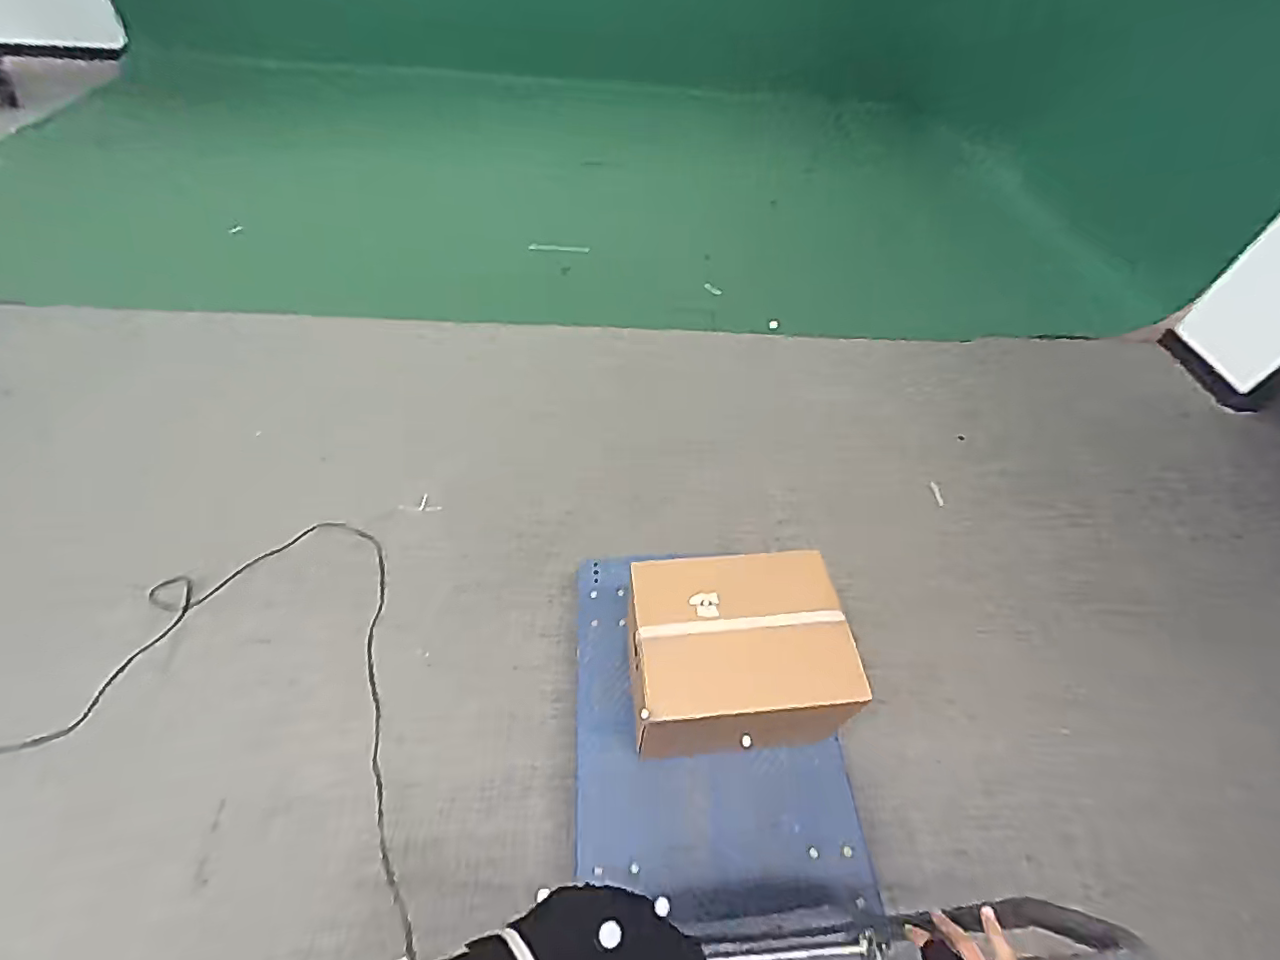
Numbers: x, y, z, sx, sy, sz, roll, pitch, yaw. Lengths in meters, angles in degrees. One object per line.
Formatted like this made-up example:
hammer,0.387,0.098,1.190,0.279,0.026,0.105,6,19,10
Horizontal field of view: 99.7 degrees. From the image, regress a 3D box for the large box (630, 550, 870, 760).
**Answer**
large box,0.196,0.377,1.152,0.408,0.320,0.320,-4,51,-6
